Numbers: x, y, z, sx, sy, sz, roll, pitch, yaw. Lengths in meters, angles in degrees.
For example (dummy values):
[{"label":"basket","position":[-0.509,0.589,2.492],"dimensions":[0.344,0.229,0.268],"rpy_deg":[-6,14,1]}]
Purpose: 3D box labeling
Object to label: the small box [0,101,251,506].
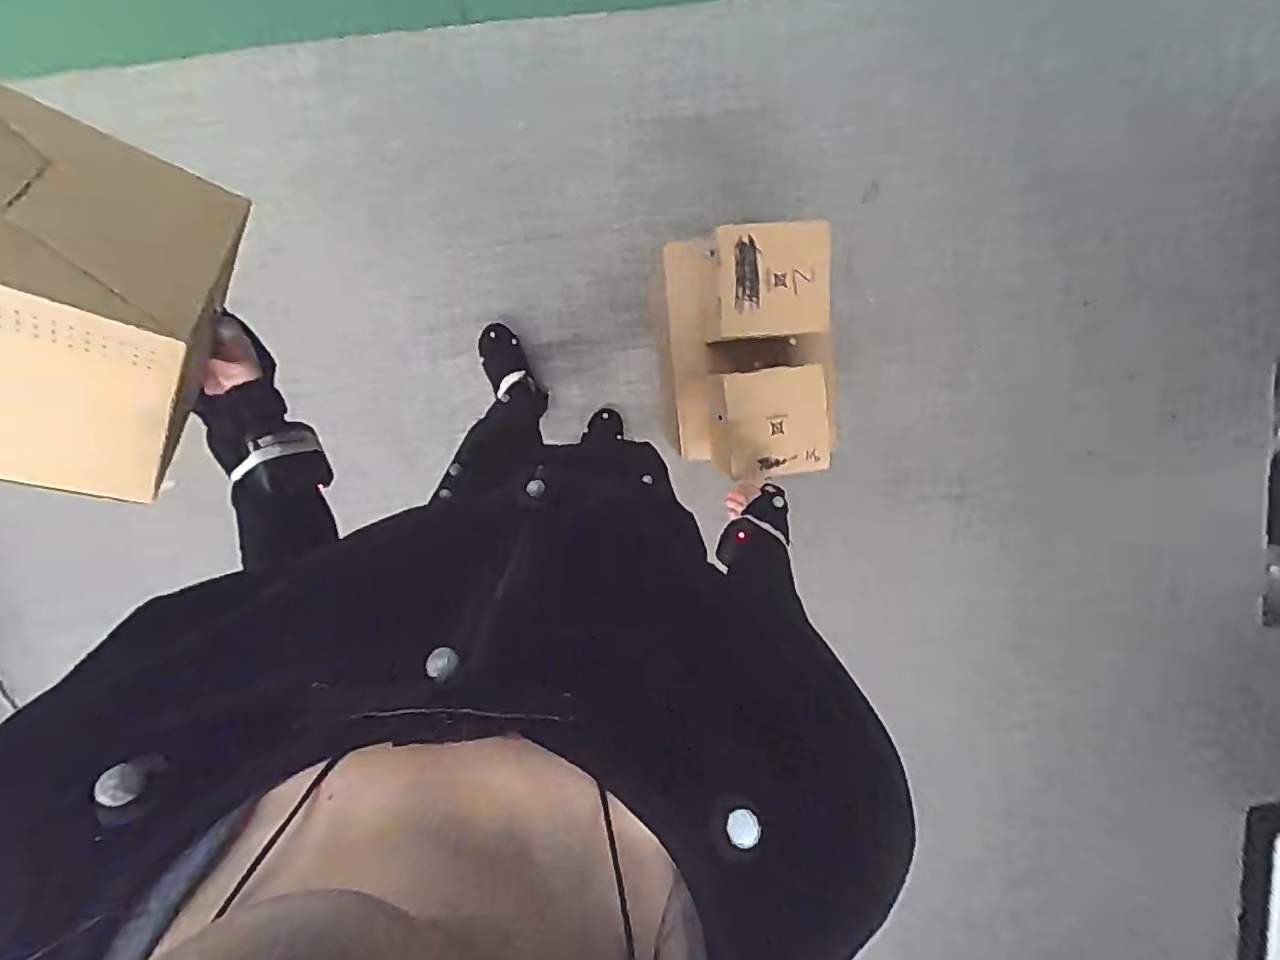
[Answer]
[{"label":"small box","position":[-0.380,-0.110,0.343],"dimensions":[0.179,0.168,0.176],"rpy_deg":[16,135,-37]}]
